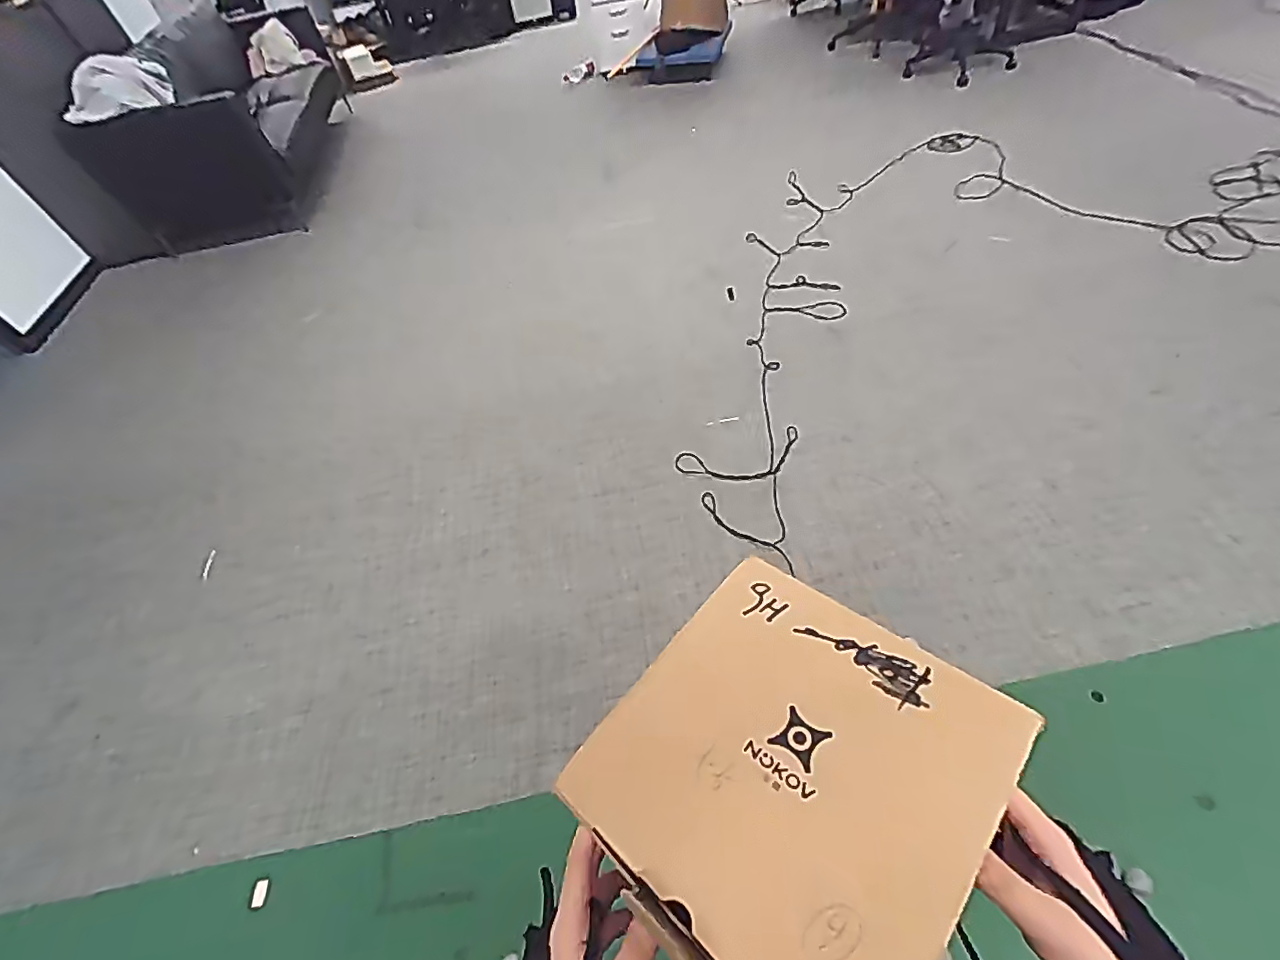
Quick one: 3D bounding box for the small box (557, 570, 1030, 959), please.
[{"bbox_3d":[0.086,0.195,0.321,0.168,0.176,0.179,28,59,35],"label":"small box"}]
